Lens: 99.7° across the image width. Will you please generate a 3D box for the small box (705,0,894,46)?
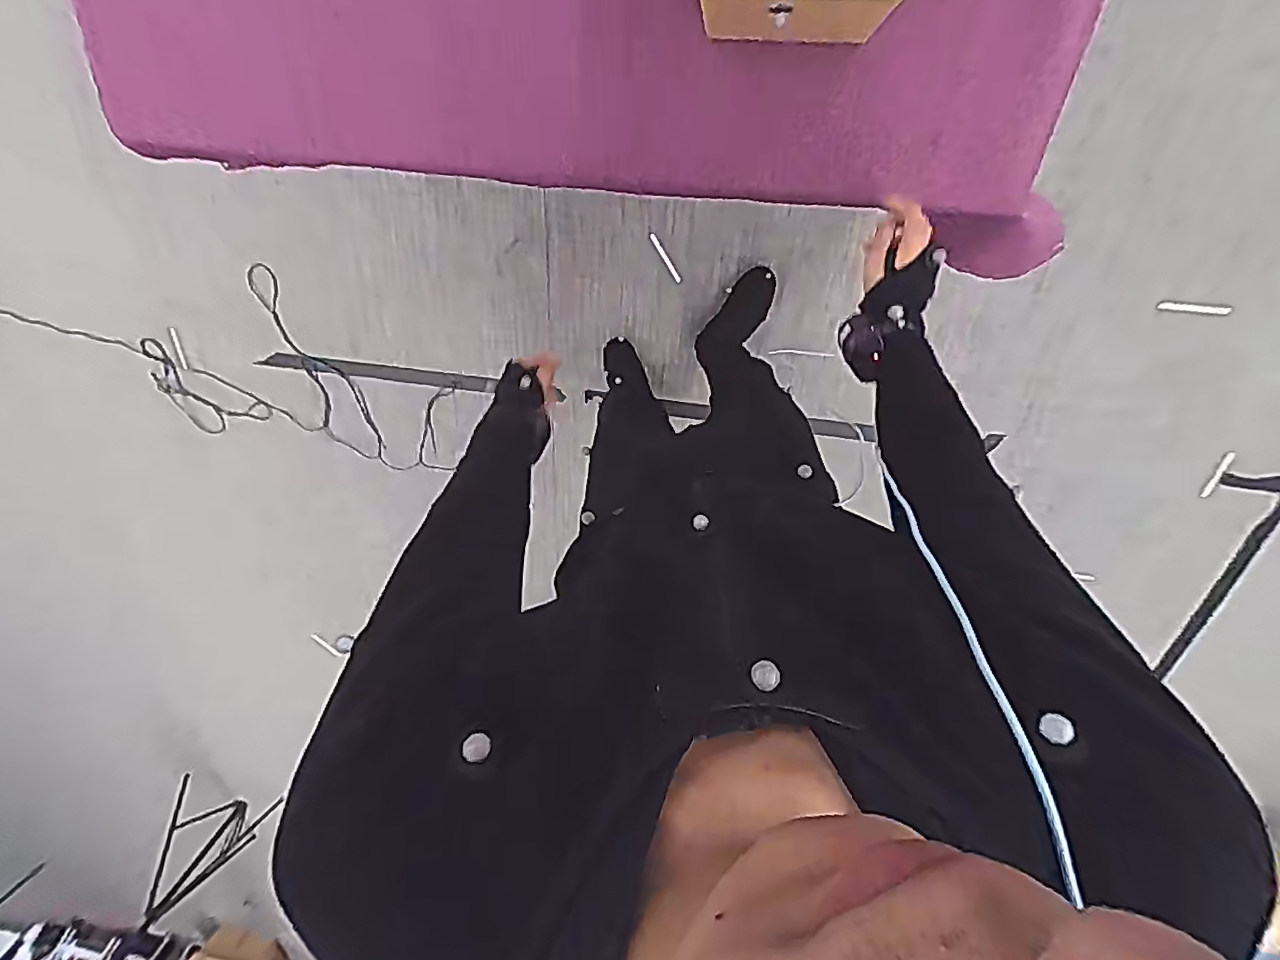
[{"bbox_3d":[0.153,-0.522,0.498,0.179,0.176,0.168,7,119,6],"label":"small box"}]
